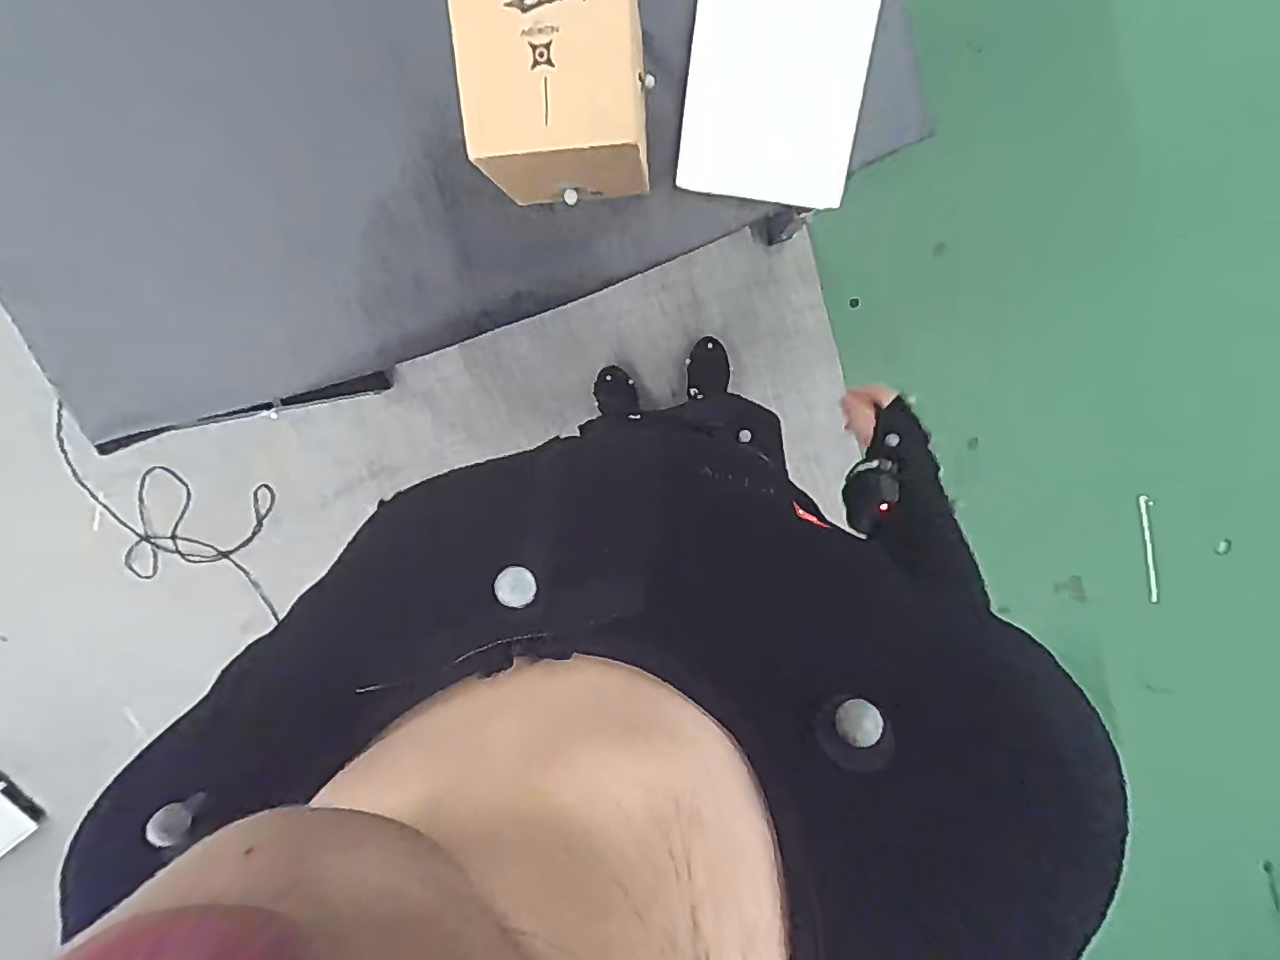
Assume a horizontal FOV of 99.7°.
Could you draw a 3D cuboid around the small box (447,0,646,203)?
[{"bbox_3d":[-0.085,-0.413,0.570,0.168,0.176,0.179,-3,104,6],"label":"small box"}]
